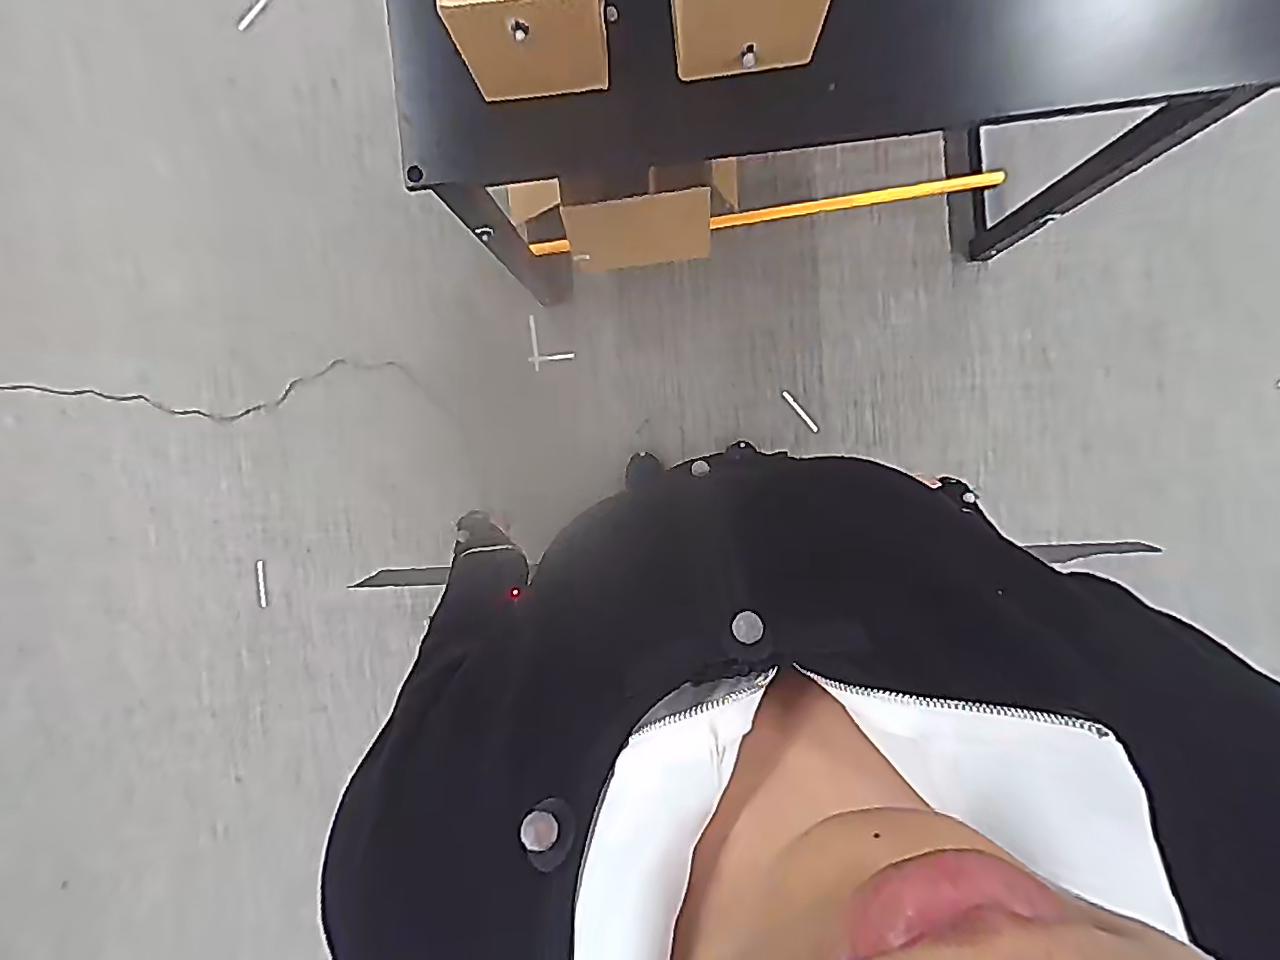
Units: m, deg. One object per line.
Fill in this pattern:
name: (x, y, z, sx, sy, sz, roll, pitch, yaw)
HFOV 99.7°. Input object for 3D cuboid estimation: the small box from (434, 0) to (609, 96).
small box: (-0.137, -0.603, 0.656, 0.179, 0.176, 0.168, -4, 94, 3)

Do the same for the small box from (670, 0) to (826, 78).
small box: (0.125, -0.621, 0.638, 0.179, 0.176, 0.168, -6, 93, 3)
